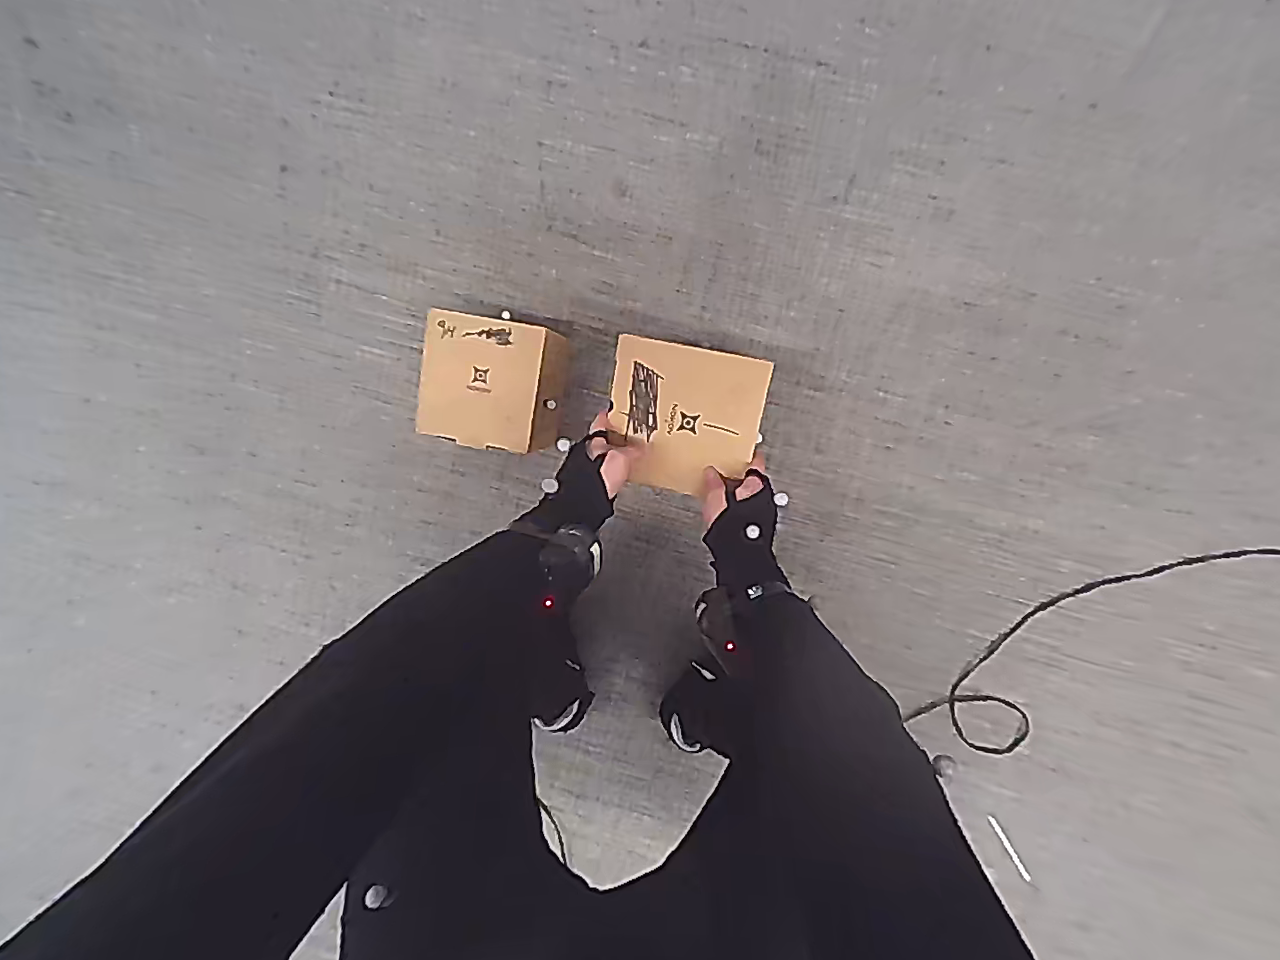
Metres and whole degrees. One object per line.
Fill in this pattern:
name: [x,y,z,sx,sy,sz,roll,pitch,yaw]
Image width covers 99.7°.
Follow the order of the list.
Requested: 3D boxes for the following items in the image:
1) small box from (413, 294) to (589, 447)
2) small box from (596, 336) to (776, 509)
small box: [-0.199,-0.156,0.821,0.179,0.176,0.168,-19,94,10]
small box: [0.062,-0.076,0.697,0.179,0.176,0.168,16,101,7]
